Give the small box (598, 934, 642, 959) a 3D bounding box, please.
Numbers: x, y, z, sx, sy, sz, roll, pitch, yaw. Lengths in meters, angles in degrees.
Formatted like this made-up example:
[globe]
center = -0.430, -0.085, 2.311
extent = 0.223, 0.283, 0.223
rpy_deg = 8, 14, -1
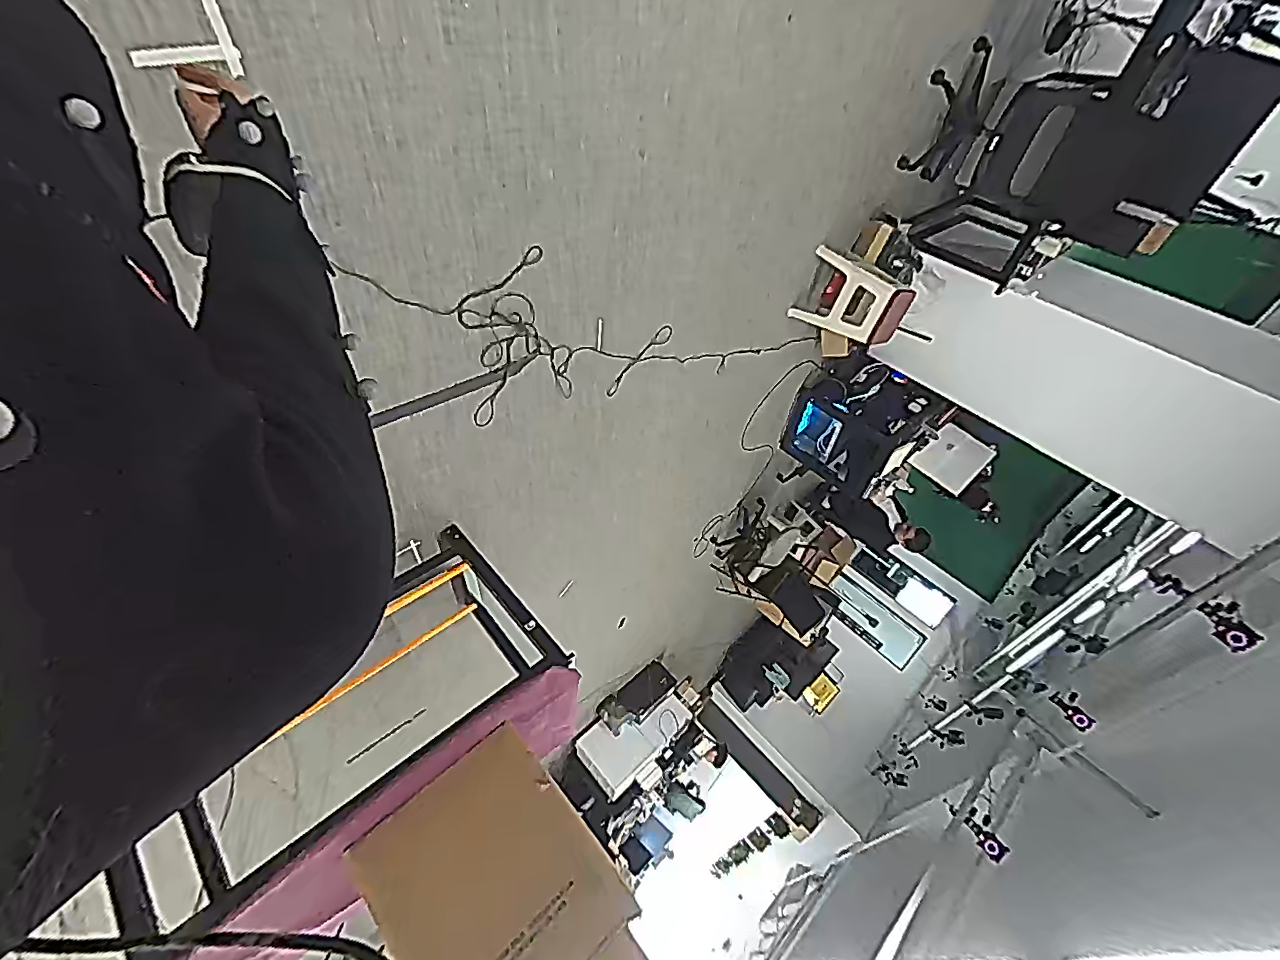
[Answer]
[small box]
center = -0.060, 1.401, 1.490
extent = 0.168, 0.176, 0.179
rpy_deg = -32, 149, -30
